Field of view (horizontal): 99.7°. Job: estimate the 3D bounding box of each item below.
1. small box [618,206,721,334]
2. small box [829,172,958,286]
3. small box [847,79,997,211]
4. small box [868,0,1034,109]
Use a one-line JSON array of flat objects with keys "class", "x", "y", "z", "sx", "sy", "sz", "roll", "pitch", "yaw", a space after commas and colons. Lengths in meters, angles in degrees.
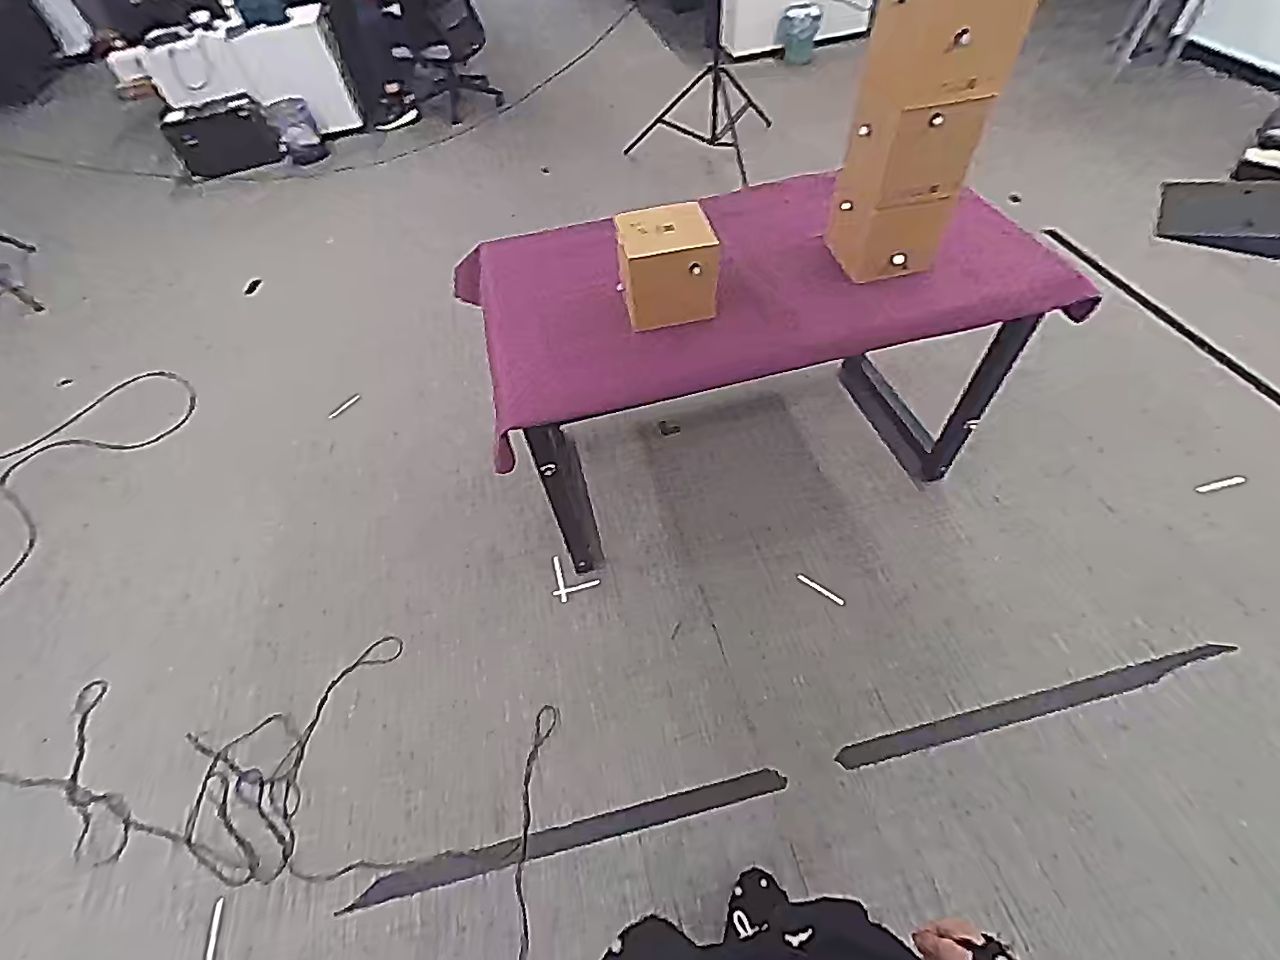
[{"class": "small box", "x": 0.058, "y": -0.425, "z": 1.106, "sx": 0.179, "sy": 0.176, "sz": 0.168, "roll": -11, "pitch": 53, "yaw": -2}, {"class": "small box", "x": 0.520, "y": -0.540, "z": 1.142, "sx": 0.168, "sy": 0.176, "sz": 0.179, "roll": -12, "pitch": 54, "yaw": -2}, {"class": "small box", "x": 0.507, "y": -0.632, "z": 1.007, "sx": 0.168, "sy": 0.176, "sz": 0.179, "roll": -10, "pitch": 53, "yaw": -1}, {"class": "small box", "x": 0.496, "y": -0.722, "z": 0.872, "sx": 0.168, "sy": 0.176, "sz": 0.179, "roll": -10, "pitch": 53, "yaw": -1}]
